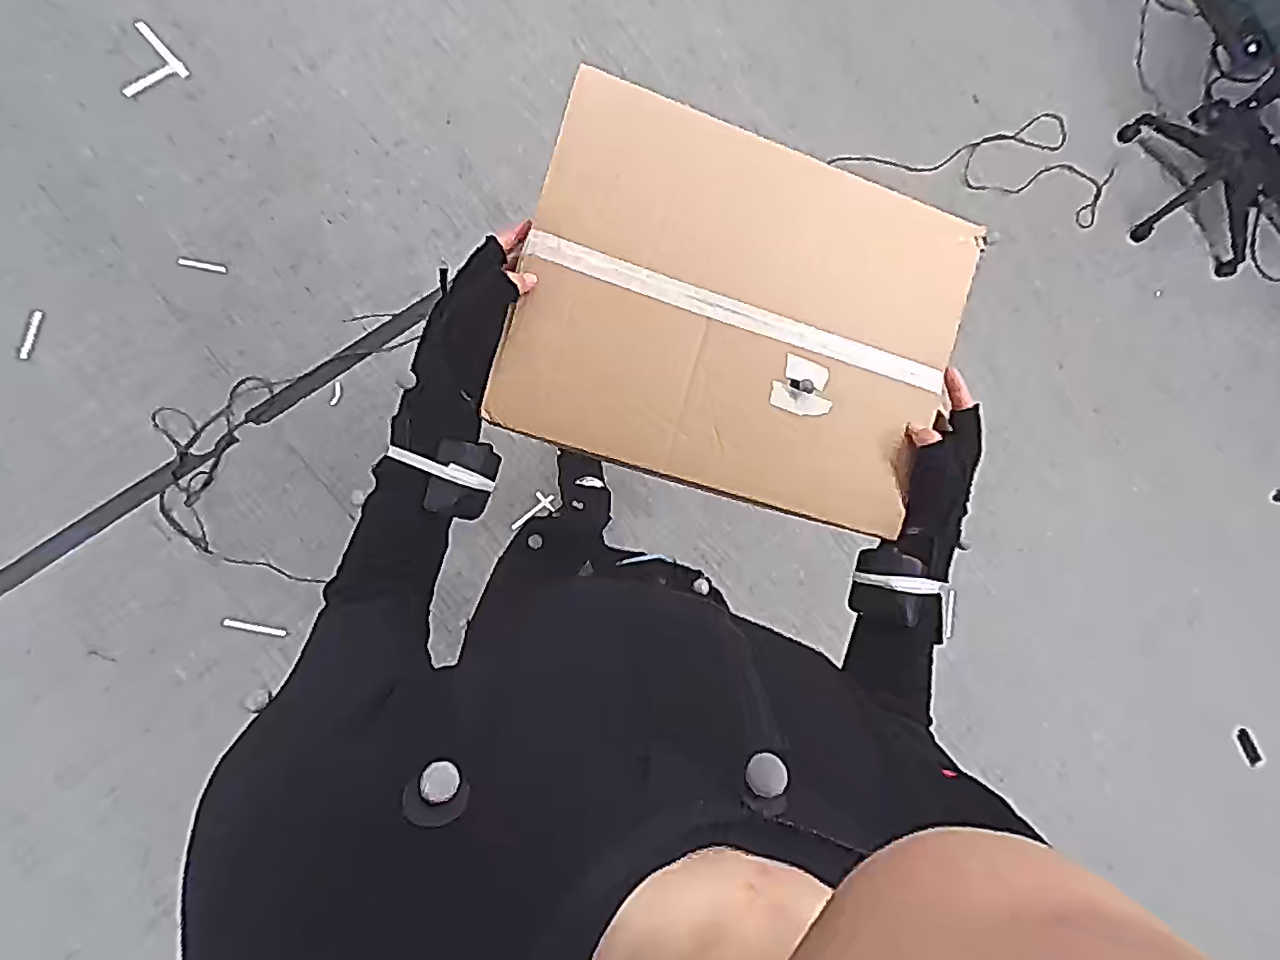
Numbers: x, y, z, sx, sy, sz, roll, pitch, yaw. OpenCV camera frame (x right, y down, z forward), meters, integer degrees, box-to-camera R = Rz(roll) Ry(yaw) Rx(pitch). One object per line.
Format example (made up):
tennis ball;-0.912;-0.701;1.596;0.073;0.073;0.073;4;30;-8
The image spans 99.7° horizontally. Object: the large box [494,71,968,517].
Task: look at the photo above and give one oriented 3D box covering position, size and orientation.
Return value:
large box;0.073;-0.168;0.650;0.408;0.320;0.320;17;91;-10
